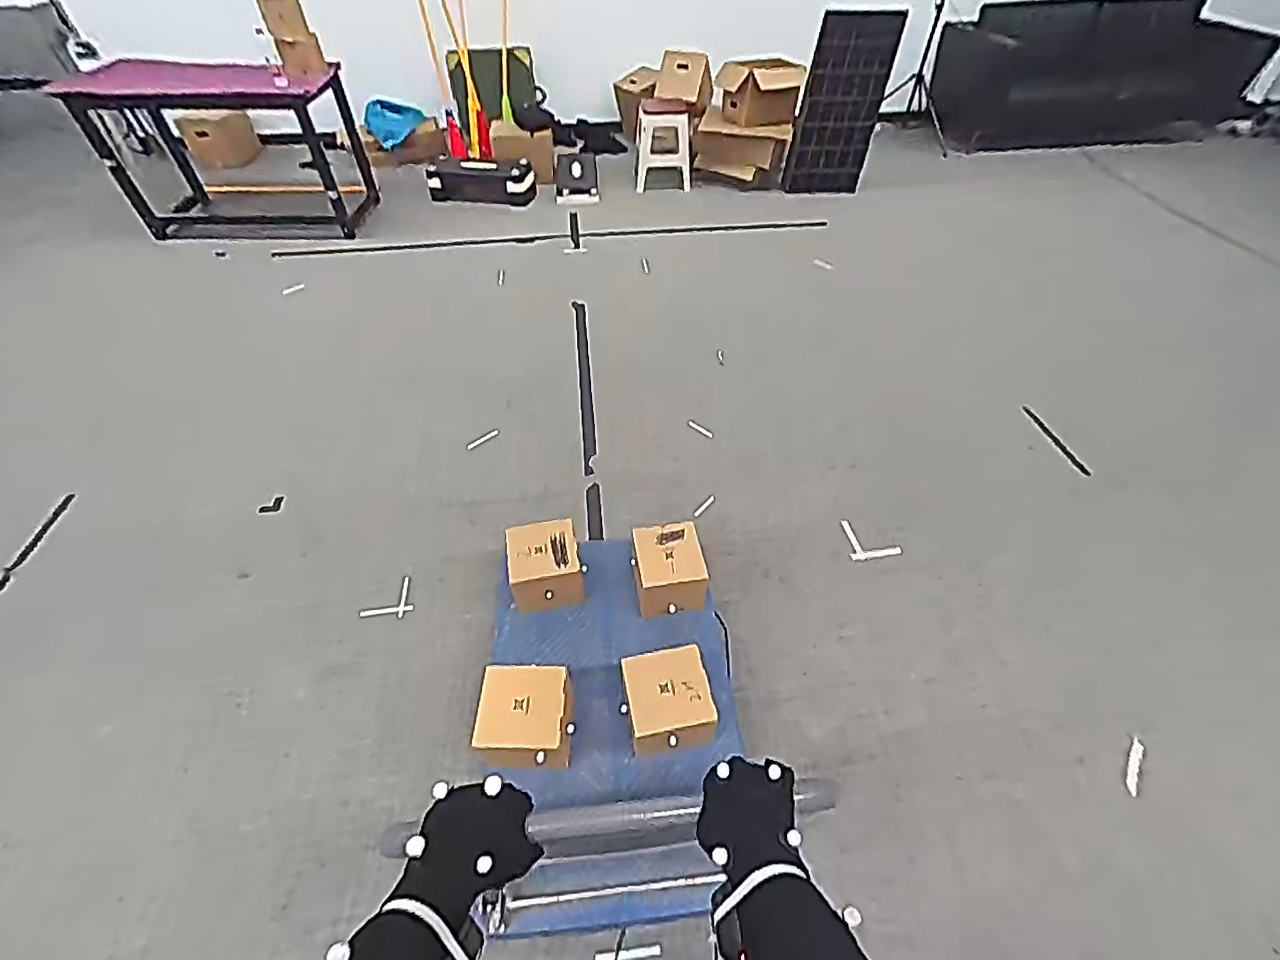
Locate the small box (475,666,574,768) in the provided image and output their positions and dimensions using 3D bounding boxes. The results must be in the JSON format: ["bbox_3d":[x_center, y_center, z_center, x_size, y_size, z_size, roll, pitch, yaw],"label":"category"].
[{"bbox_3d":[-0.243,0.522,1.185,0.179,0.176,0.168,1,49,-1],"label":"small box"}]

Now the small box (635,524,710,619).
[{"bbox_3d":[0.077,0.243,1.429,0.168,0.176,0.179,-7,50,-6],"label":"small box"}]

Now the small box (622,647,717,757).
[{"bbox_3d":[0.061,0.498,1.205,0.179,0.176,0.168,-8,49,-7],"label":"small box"}]
